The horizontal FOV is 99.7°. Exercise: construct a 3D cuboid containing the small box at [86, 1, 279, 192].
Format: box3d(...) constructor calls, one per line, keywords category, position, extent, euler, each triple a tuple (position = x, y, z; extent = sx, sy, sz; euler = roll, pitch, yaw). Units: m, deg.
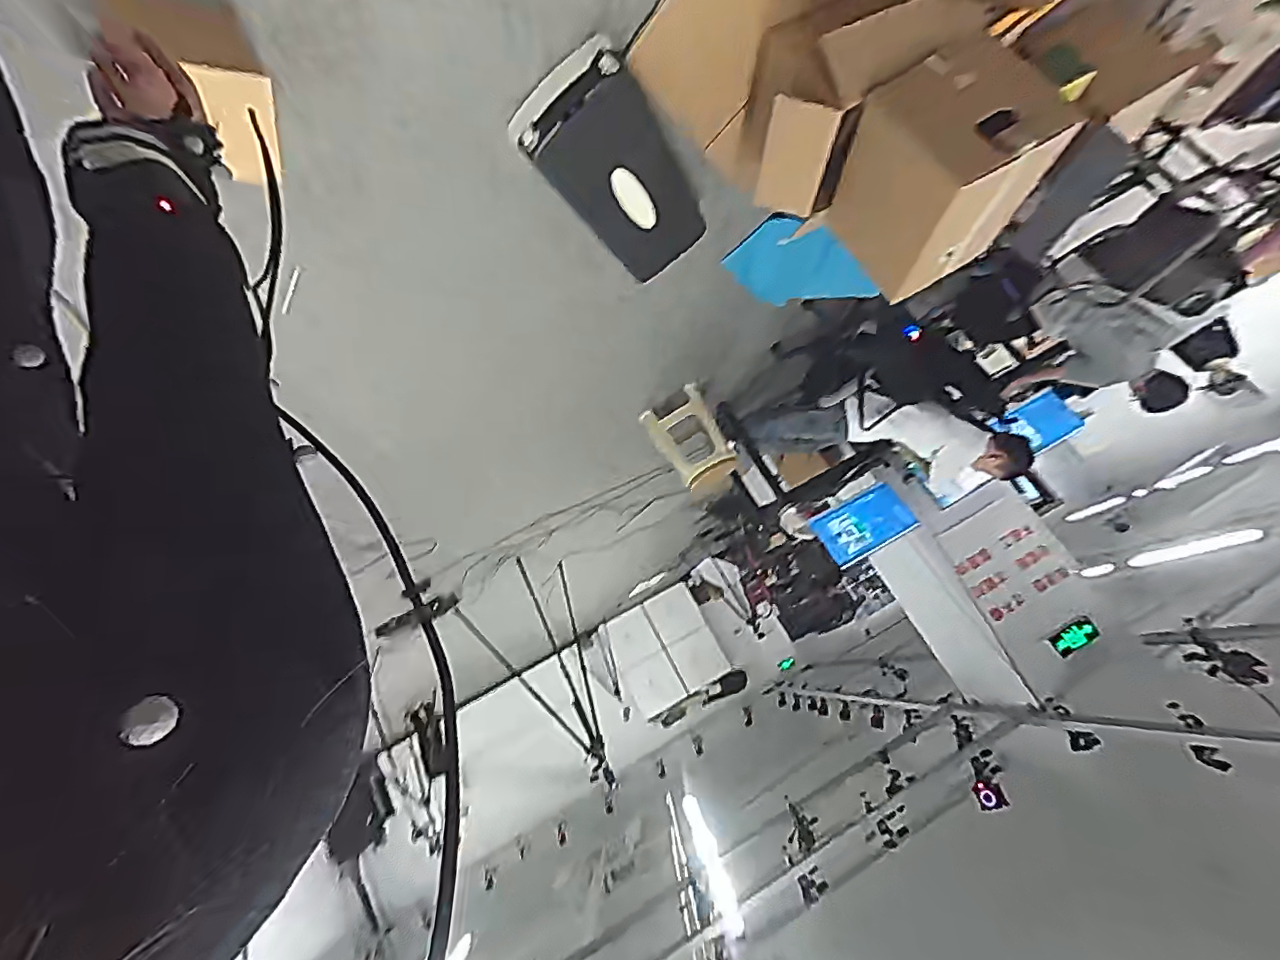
box3d(category="small box", position=(-0.674, -0.566, 0.812), extent=(0.179, 0.176, 0.168), euler=(-18, 159, -35))
